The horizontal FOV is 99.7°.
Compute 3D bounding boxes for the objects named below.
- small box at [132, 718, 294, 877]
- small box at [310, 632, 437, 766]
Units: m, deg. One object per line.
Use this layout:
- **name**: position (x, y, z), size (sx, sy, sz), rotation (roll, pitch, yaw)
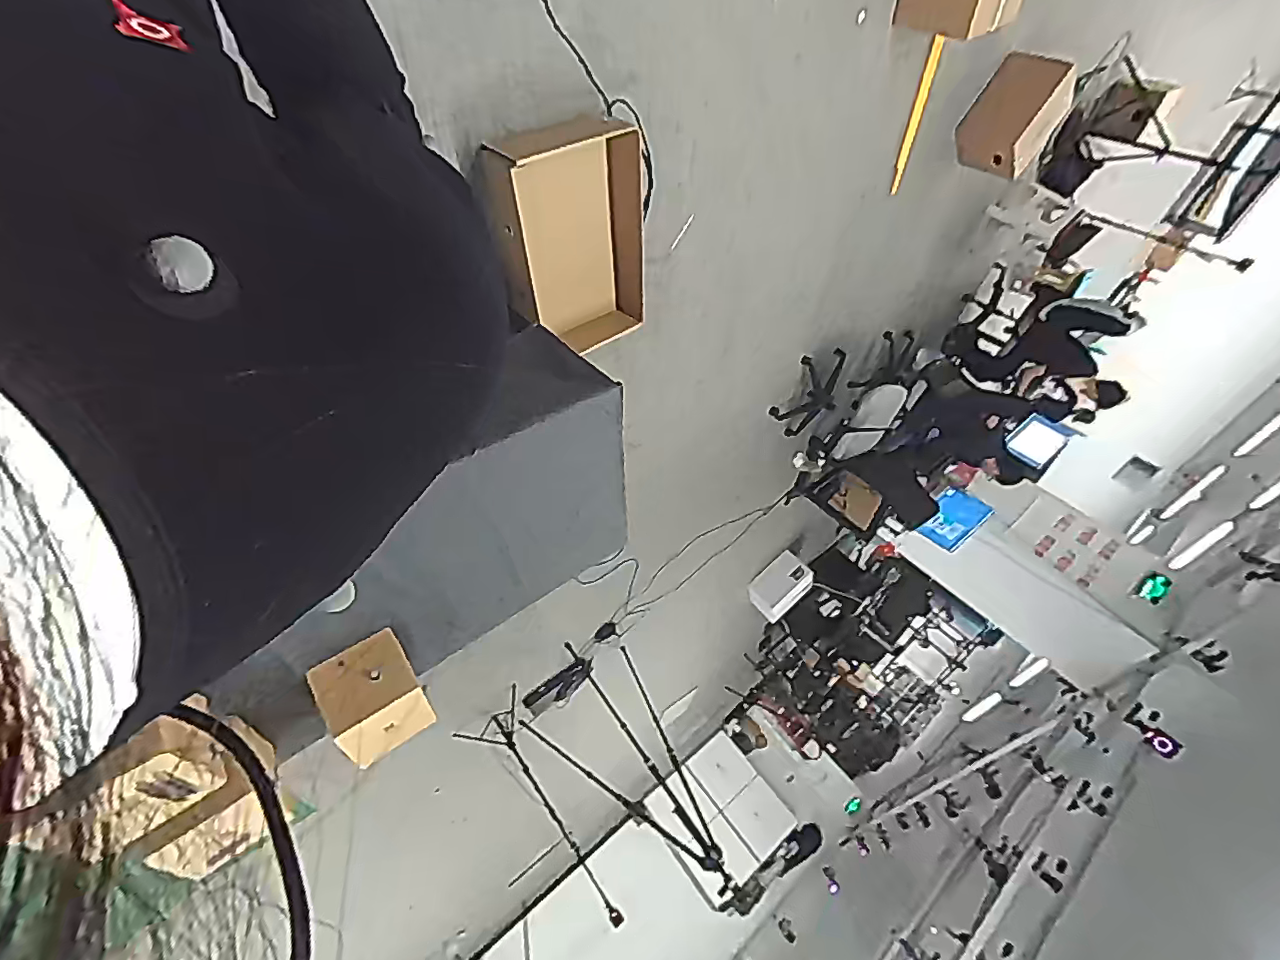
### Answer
- **small box**: position (-0.773, 0.572, 0.987), size (0.168, 0.176, 0.179), rotation (-29, 144, -28)
- **small box**: position (-0.550, 0.444, 1.121), size (0.168, 0.176, 0.179), rotation (-29, 145, -28)
